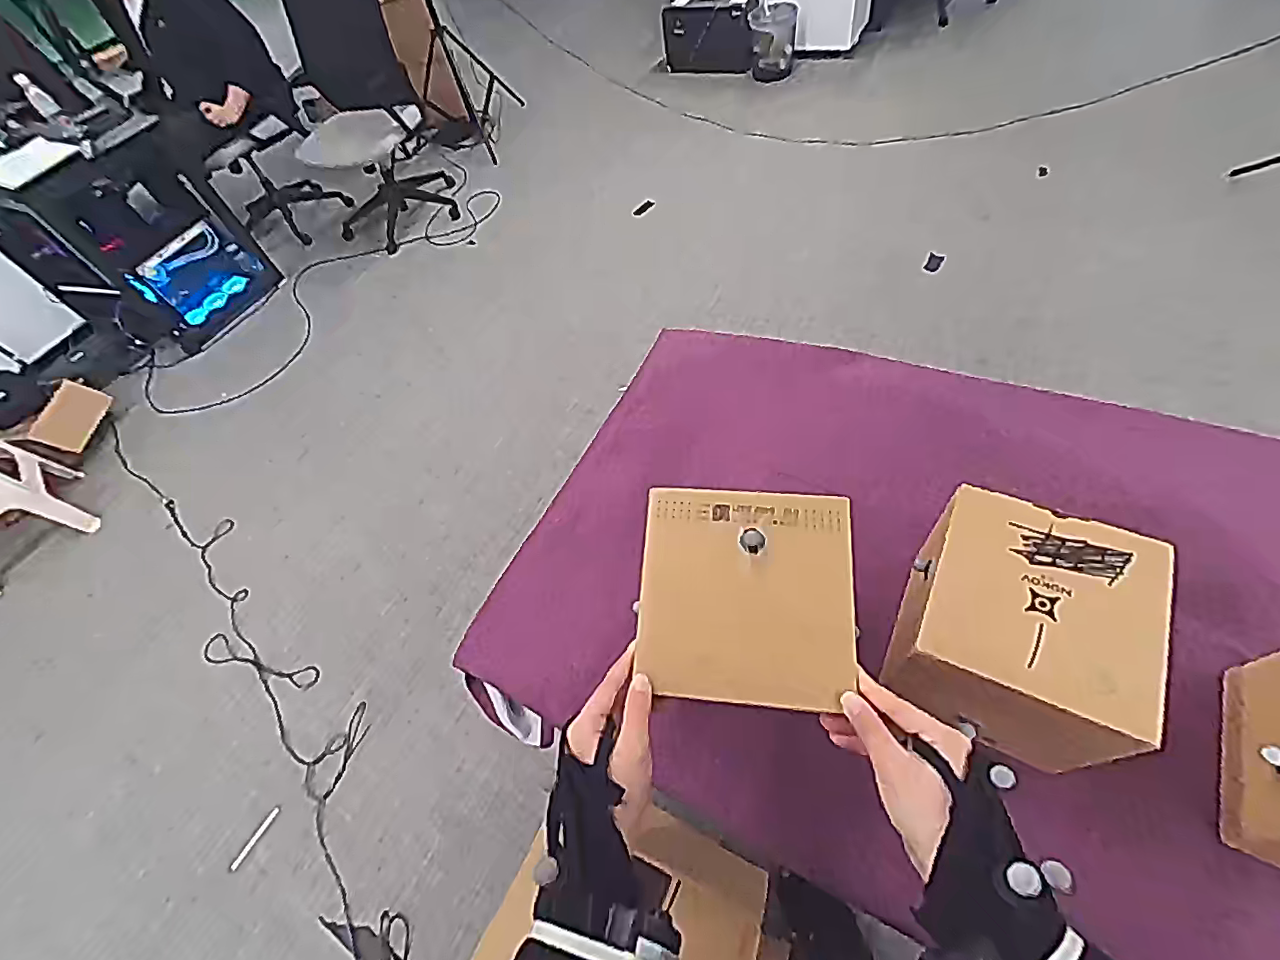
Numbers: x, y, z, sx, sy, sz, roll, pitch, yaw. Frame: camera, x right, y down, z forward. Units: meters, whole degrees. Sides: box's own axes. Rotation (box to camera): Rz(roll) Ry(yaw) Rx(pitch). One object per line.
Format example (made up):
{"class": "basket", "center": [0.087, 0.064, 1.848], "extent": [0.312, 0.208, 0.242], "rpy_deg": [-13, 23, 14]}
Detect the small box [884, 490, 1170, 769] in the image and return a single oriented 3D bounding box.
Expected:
{"class": "small box", "center": [0.351, 0.145, 0.518], "extent": [0.168, 0.176, 0.179], "rpy_deg": [20, 62, 23]}
